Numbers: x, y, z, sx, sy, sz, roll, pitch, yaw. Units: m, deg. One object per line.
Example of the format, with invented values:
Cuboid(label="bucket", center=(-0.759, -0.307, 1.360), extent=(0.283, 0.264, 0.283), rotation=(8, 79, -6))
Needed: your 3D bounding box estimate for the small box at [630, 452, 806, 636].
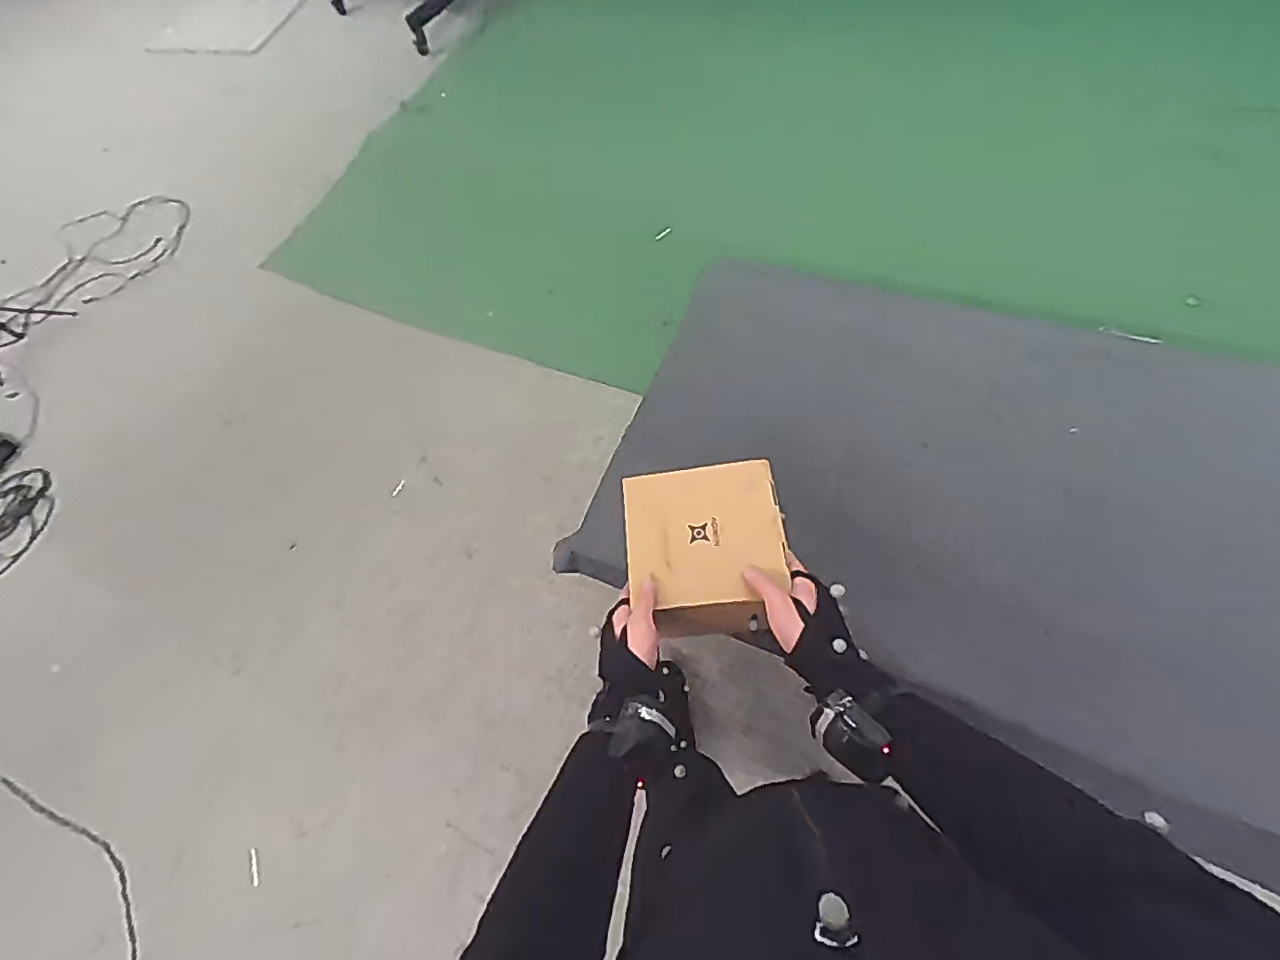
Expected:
Cuboid(label="small box", center=(0.089, 0.086, 0.660), extent=(0.179, 0.176, 0.168), rotation=(-8, 61, 6))
